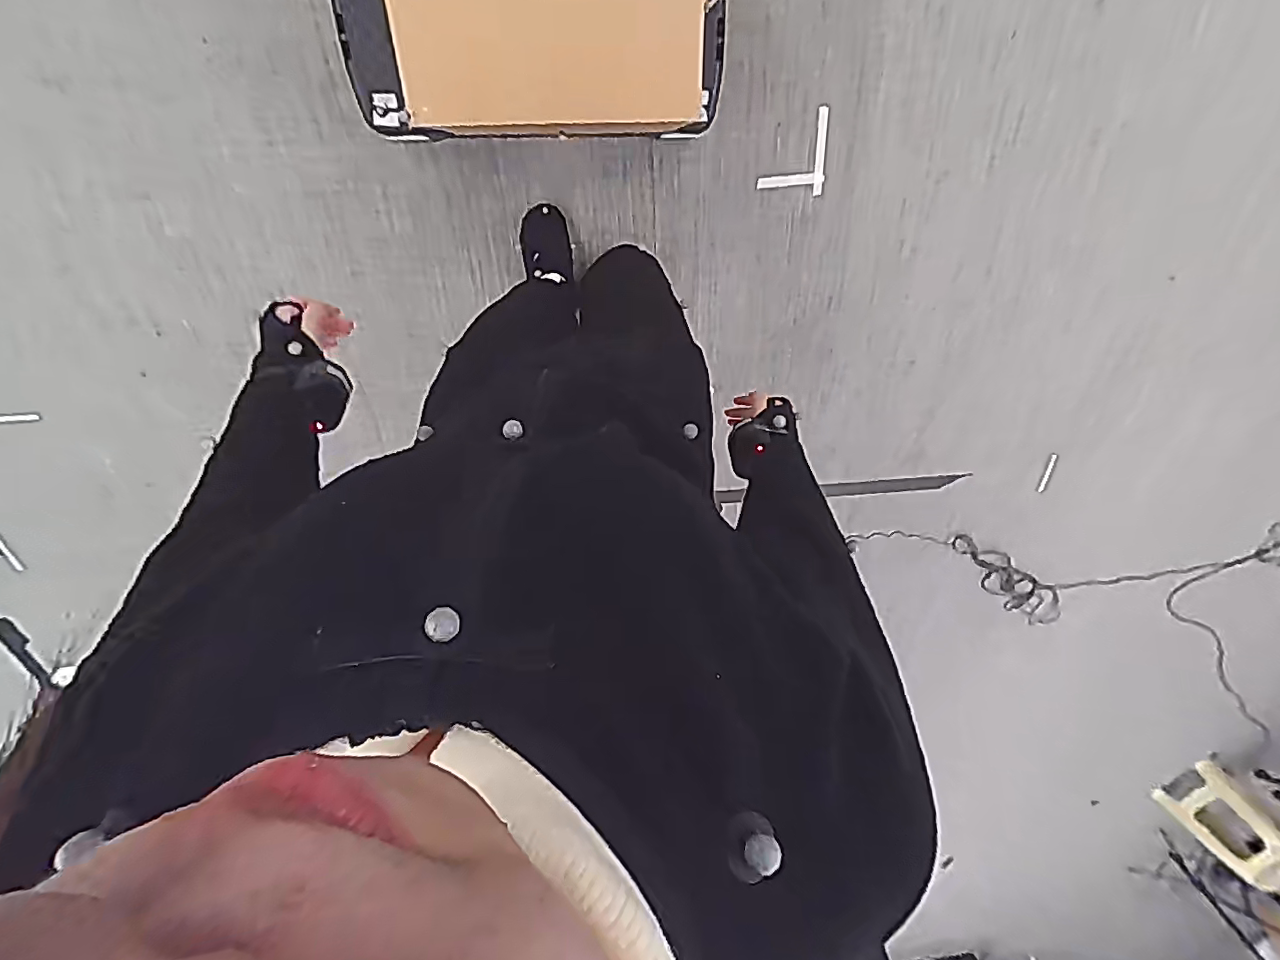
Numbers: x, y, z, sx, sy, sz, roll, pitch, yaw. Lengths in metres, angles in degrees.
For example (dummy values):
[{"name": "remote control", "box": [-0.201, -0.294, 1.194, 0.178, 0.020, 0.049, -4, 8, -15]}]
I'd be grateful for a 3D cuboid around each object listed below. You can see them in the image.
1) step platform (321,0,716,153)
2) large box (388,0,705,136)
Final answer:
[{"name": "step platform", "box": [-0.203, -0.799, 1.004, 0.684, 0.204, 0.286, 1, 120, -6]}, {"name": "large box", "box": [-0.126, -0.698, 0.794, 0.408, 0.320, 0.320, -4, 120, -3]}]
